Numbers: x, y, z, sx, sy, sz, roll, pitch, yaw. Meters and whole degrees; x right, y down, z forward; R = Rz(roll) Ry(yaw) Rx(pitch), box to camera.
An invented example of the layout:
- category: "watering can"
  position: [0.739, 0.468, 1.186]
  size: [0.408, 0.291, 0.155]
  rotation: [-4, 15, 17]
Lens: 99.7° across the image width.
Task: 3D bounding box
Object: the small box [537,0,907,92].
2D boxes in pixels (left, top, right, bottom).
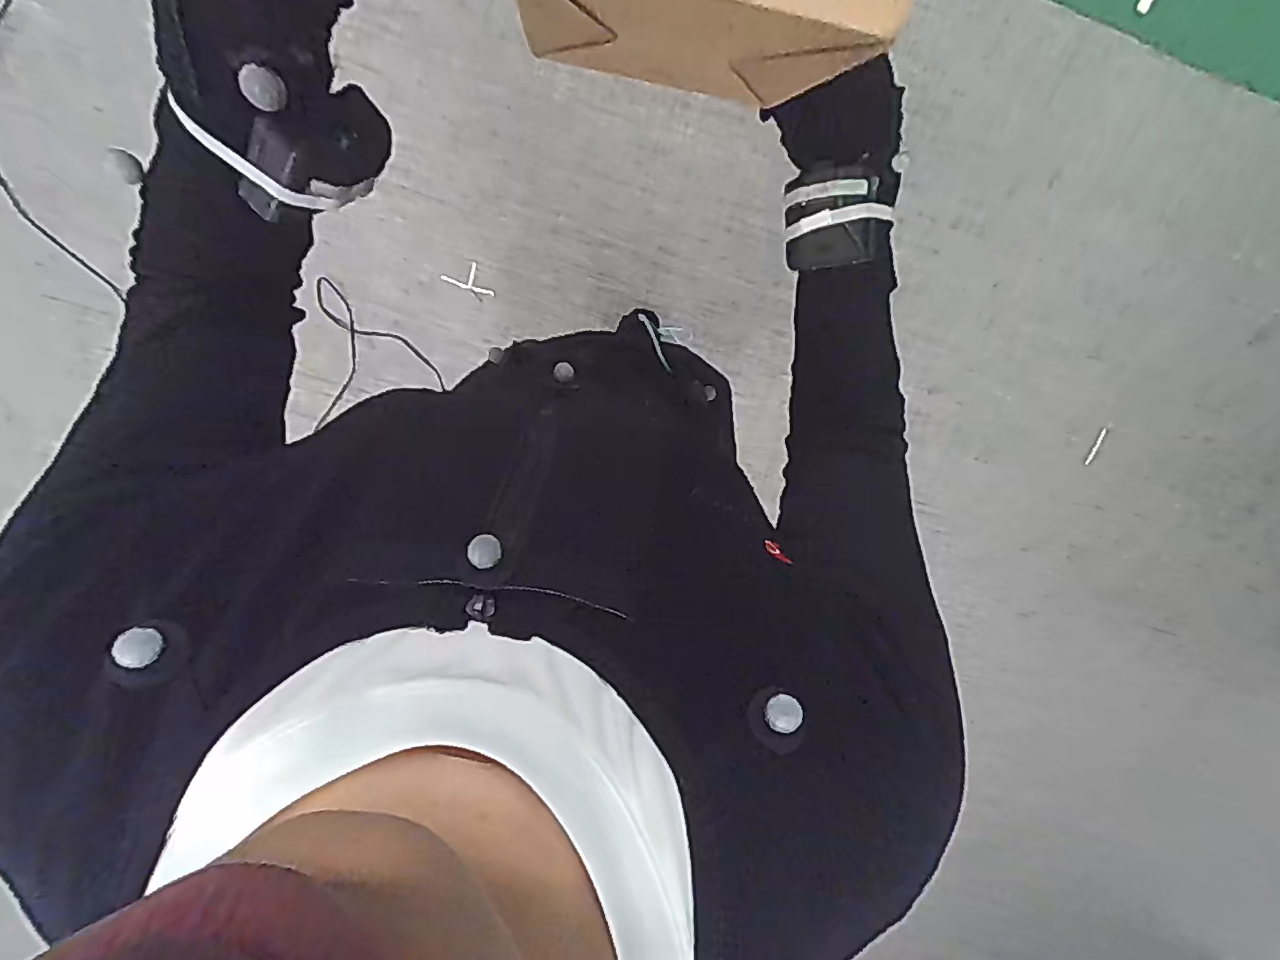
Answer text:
- category: "small box"
  position: [0.038, -0.308, 0.258]
  size: [0.168, 0.179, 0.176]
  rotation: [5, 117, -10]
